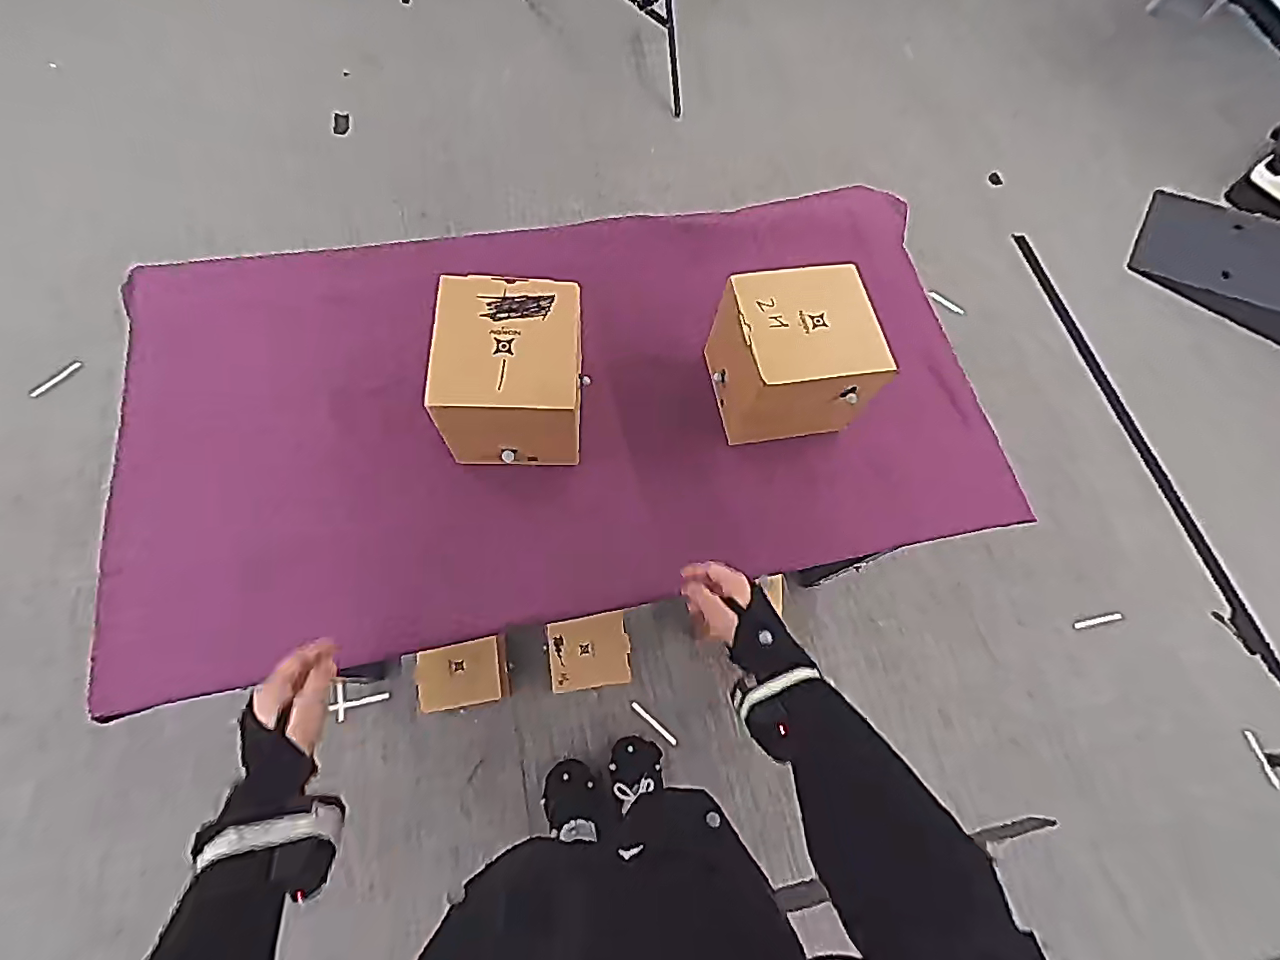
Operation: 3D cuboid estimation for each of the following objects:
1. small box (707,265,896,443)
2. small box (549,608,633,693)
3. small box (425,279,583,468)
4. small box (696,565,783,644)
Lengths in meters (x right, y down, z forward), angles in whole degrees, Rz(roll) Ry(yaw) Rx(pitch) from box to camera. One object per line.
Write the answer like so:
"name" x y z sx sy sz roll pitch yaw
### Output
"small box" 0.206 -0.165 0.740 0.179 0.176 0.168 -9 70 -8
"small box" -0.119 0.404 1.280 0.179 0.176 0.168 -6 70 -7
"small box" -0.160 -0.129 0.695 0.168 0.176 0.179 1 70 -5
"small box" 0.244 0.314 1.347 0.179 0.176 0.168 5 70 -2
